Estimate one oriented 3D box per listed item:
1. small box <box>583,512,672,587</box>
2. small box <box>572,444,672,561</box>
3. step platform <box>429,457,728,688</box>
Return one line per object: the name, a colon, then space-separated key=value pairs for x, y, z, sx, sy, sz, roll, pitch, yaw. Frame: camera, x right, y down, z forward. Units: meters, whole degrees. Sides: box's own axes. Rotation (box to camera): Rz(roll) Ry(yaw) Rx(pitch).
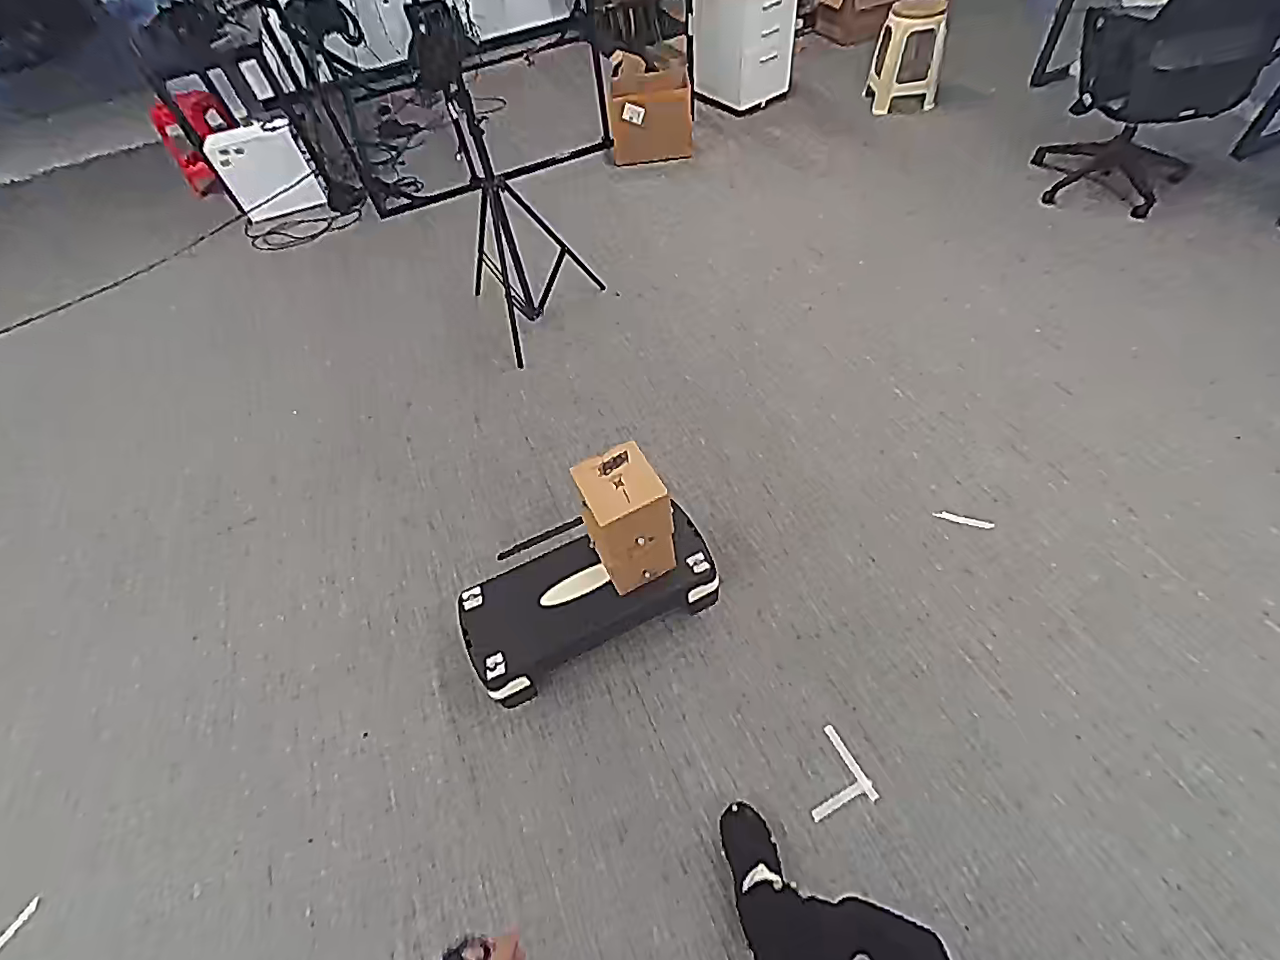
small box: x=-0.028 y=0.158 z=1.377 sx=0.168 sy=0.176 sz=0.179 roll=-26 pitch=55 yaw=-10
small box: x=-0.039 y=0.056 z=1.249 sx=0.168 sy=0.176 sz=0.179 roll=-26 pitch=56 yaw=-10
step platform: x=-0.133 y=0.216 z=1.305 sx=0.684 sy=0.204 sz=0.286 roll=-24 pitch=54 yaw=-11
